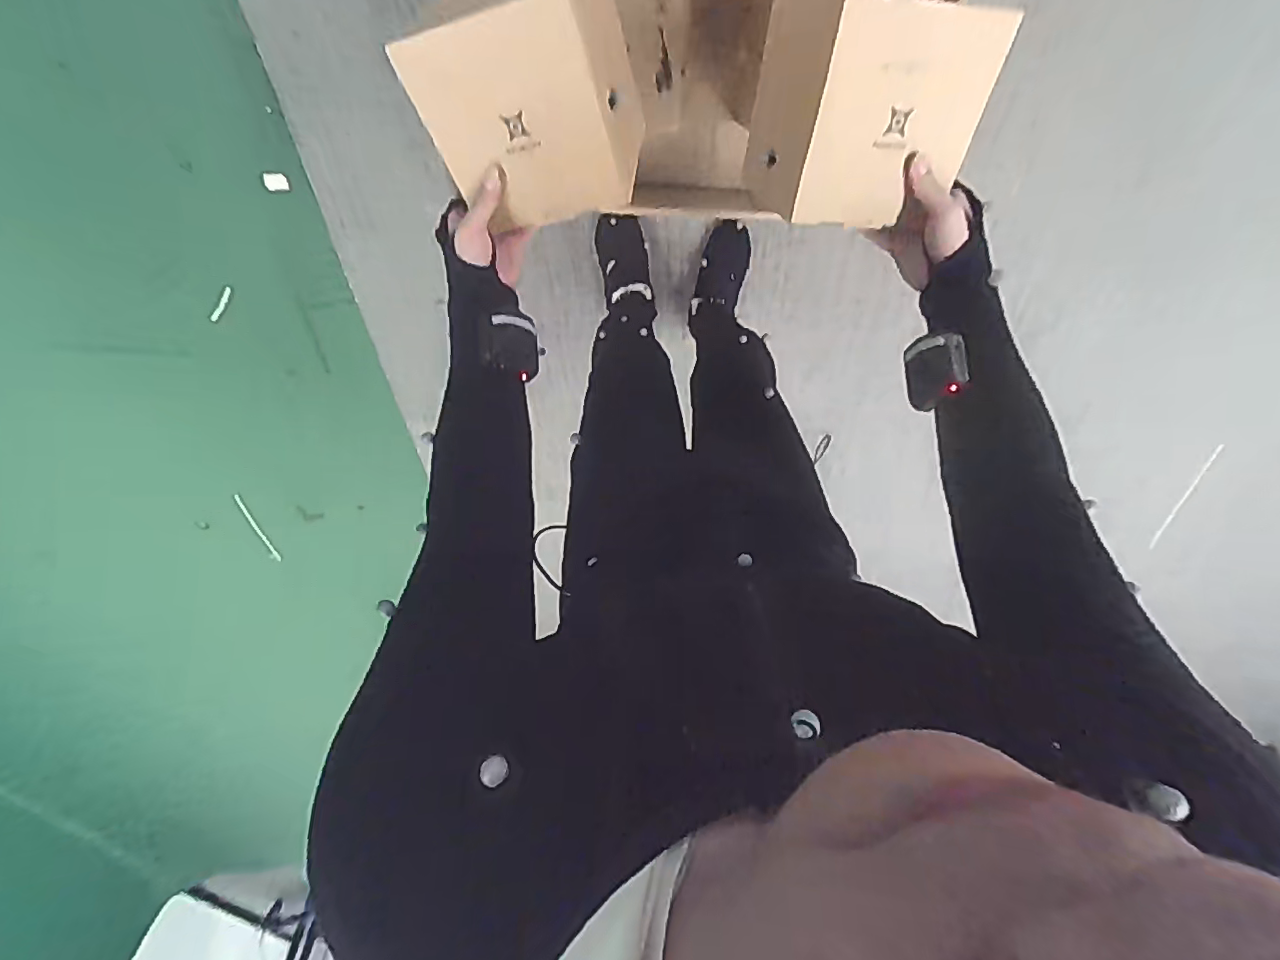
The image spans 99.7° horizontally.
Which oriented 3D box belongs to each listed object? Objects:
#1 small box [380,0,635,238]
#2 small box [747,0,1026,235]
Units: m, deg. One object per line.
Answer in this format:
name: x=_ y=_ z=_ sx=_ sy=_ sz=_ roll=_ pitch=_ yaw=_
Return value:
small box: x=-0.107 y=-0.375 z=0.524 sx=0.168 sy=0.176 sz=0.179 roll=-5 pitch=145 yaw=15
small box: x=0.219 y=-0.367 z=0.543 sx=0.168 sy=0.176 sz=0.179 roll=-2 pitch=131 yaw=-11
